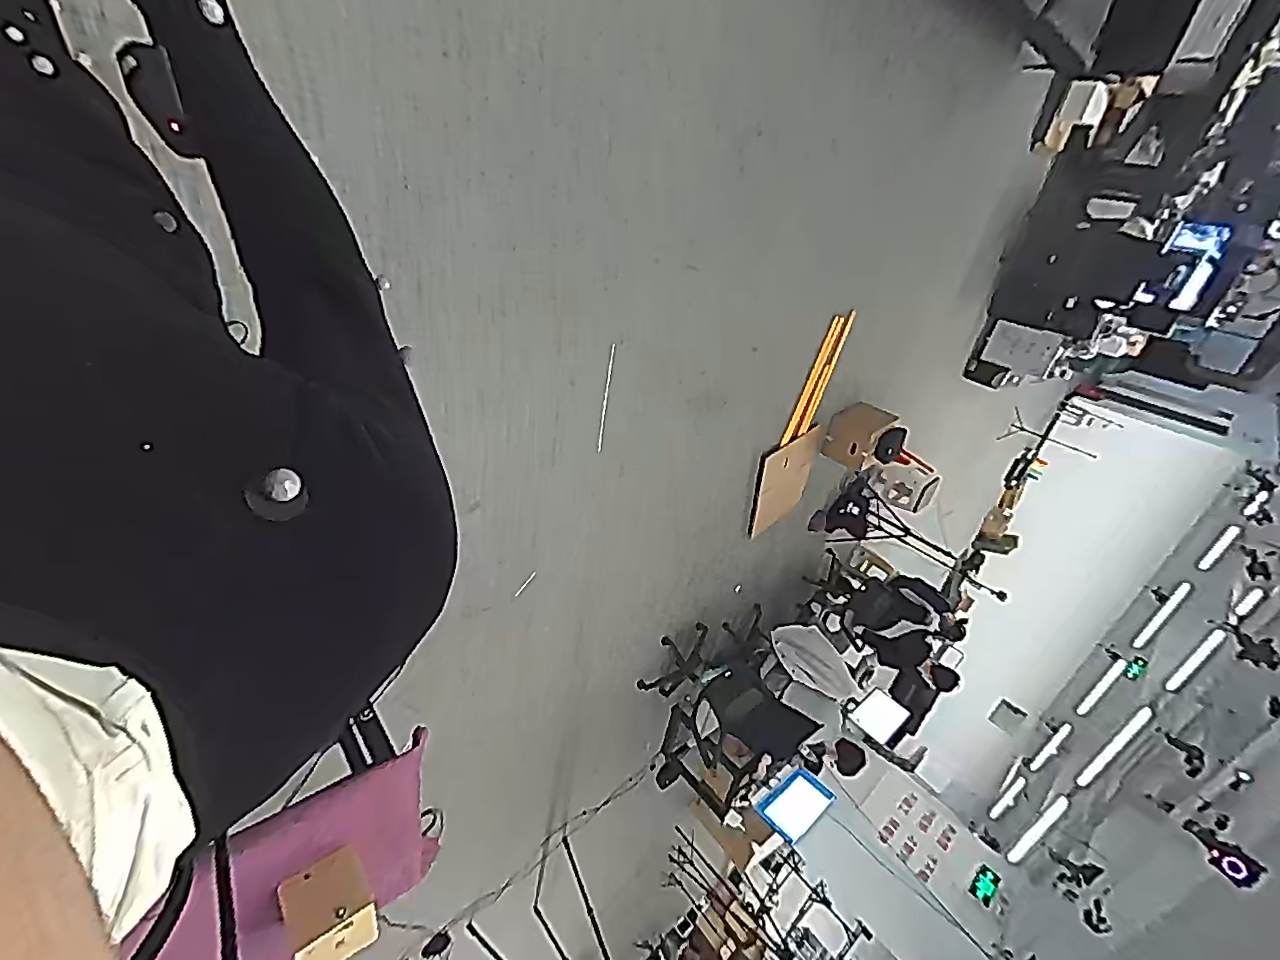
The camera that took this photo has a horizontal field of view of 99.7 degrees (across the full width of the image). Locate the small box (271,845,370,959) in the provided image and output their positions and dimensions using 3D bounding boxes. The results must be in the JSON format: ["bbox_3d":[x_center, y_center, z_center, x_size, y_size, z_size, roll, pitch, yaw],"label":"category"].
[{"bbox_3d":[-0.767,1.035,1.301,0.168,0.176,0.179,-15,129,-40],"label":"small box"}]
